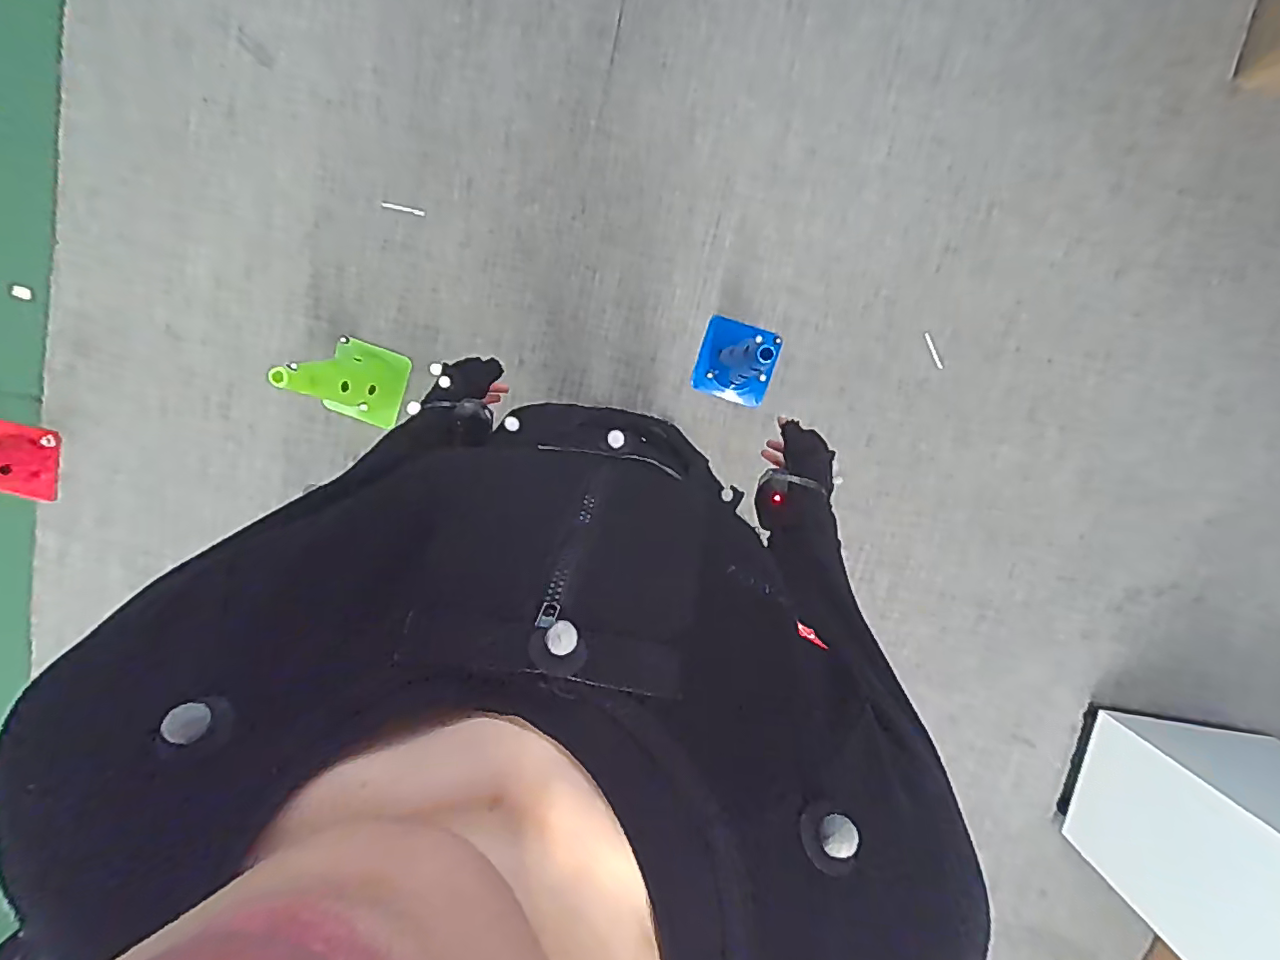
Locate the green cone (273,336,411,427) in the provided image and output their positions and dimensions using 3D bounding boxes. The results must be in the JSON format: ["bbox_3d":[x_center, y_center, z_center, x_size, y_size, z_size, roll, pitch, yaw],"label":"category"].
[{"bbox_3d":[-0.725,-0.235,1.264,0.202,0.368,0.200,19,98,-2],"label":"green cone"}]
